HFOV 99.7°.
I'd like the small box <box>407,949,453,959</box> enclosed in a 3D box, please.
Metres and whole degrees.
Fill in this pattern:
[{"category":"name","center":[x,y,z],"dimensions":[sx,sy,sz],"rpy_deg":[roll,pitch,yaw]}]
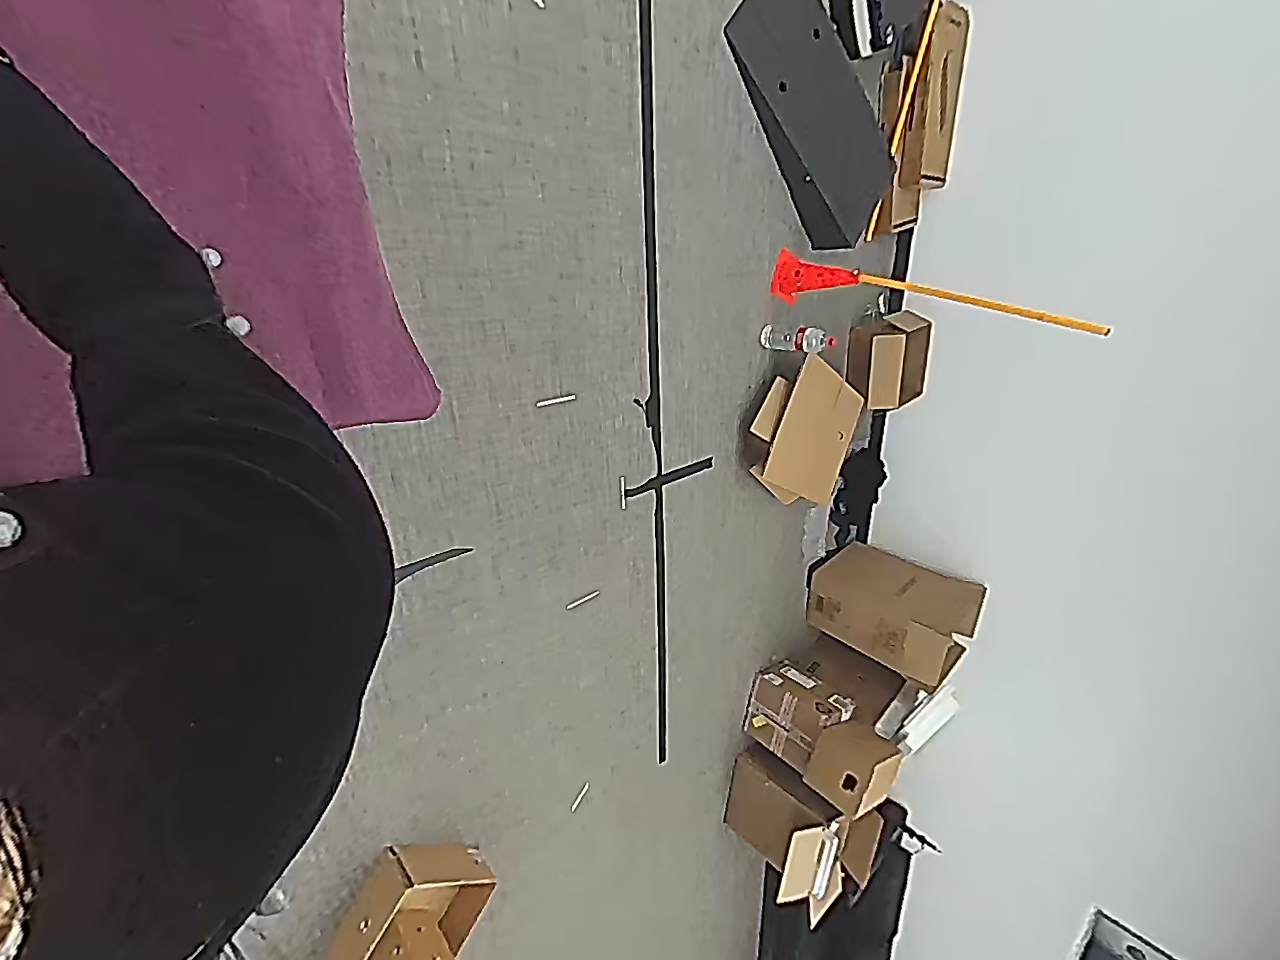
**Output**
[{"category":"small box","center":[-0.677,1.610,1.679],"dimensions":[0.168,0.176,0.179],"rpy_deg":[-55,135,-13]}]
